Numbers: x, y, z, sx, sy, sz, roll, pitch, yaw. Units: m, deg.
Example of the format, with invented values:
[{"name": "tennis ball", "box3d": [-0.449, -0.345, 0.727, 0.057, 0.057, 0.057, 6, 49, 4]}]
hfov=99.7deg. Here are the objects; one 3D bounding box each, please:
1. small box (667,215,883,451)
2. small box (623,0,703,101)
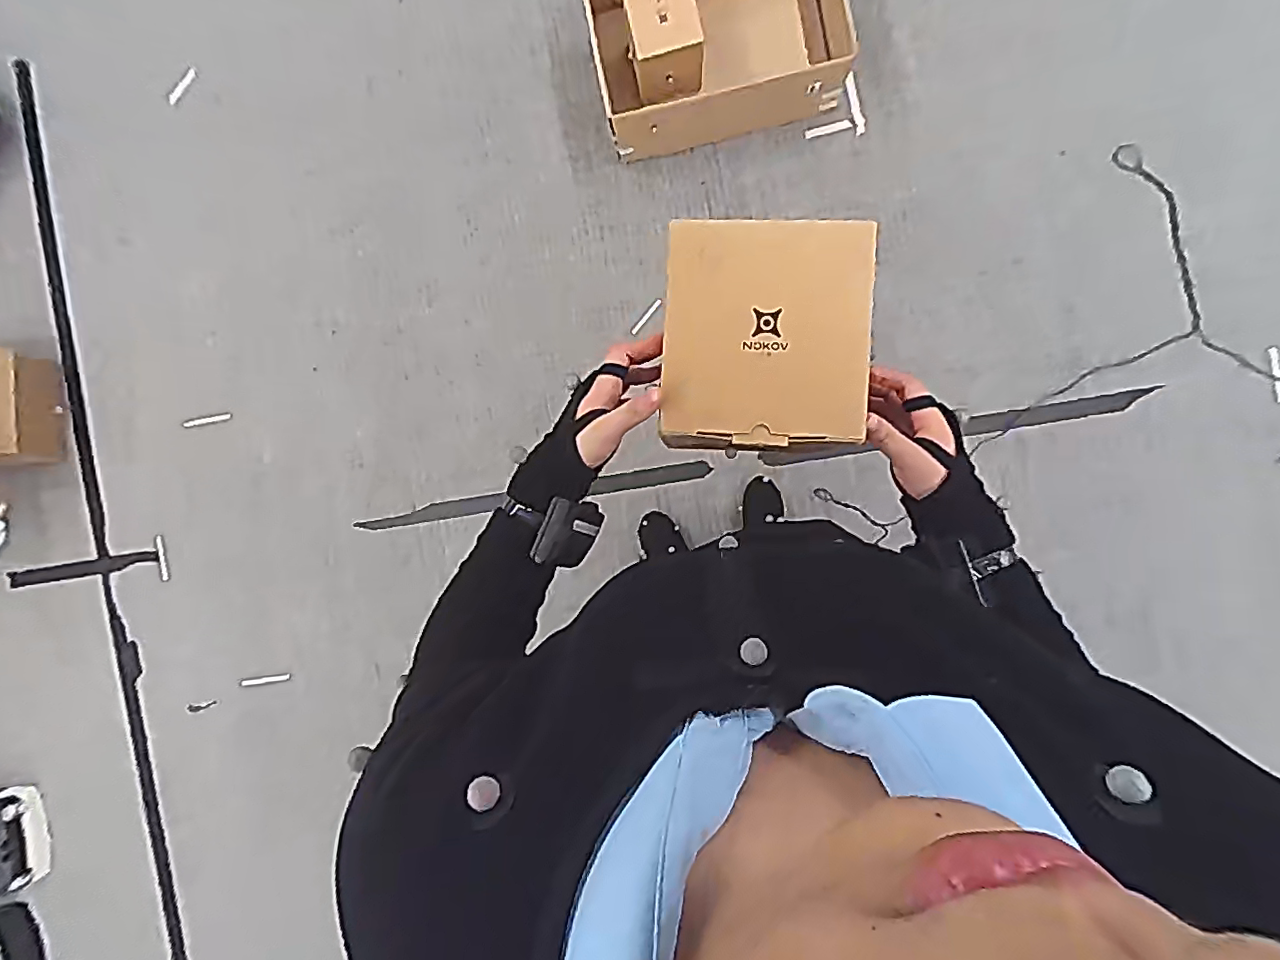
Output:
[{"name": "small box", "box3d": [0.111, -0.122, 0.508, 0.168, 0.176, 0.179, 2, 91, 4]}, {"name": "small box", "box3d": [0.062, -1.108, 1.376, 0.168, 0.176, 0.179, -13, 89, 4]}]
